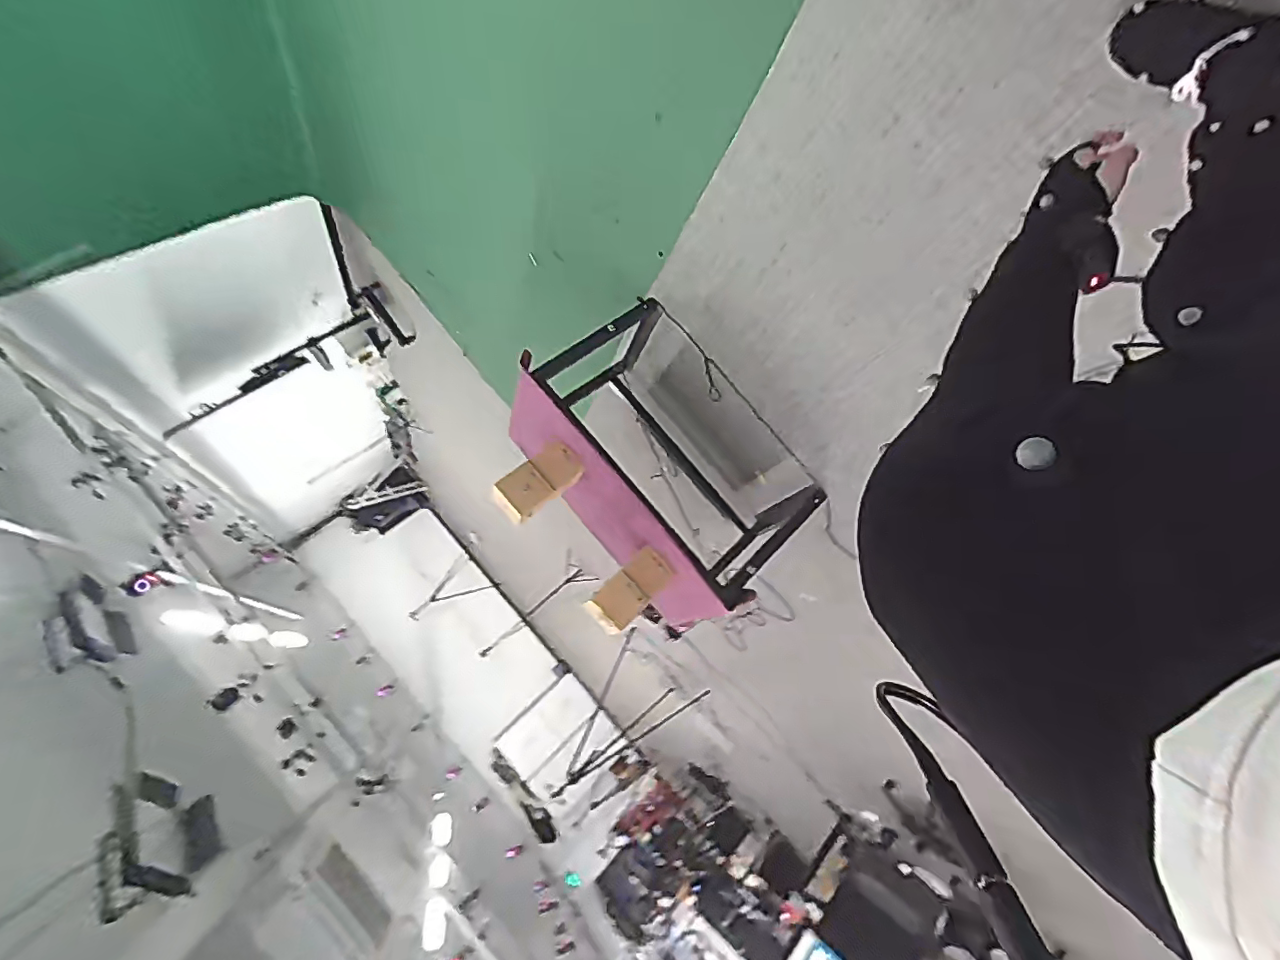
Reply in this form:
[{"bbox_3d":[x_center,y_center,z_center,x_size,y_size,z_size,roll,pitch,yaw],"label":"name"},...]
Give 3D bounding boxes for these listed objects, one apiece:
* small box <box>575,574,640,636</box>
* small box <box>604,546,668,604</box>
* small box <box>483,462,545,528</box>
[{"bbox_3d":[-0.121,0.481,2.092,0.168,0.176,0.179,49,155,2],"label":"small box"},{"bbox_3d":[-0.013,0.389,2.173,0.168,0.176,0.179,49,153,3],"label":"small box"},{"bbox_3d":[-0.491,0.057,2.116,0.168,0.176,0.179,50,153,2],"label":"small box"}]
